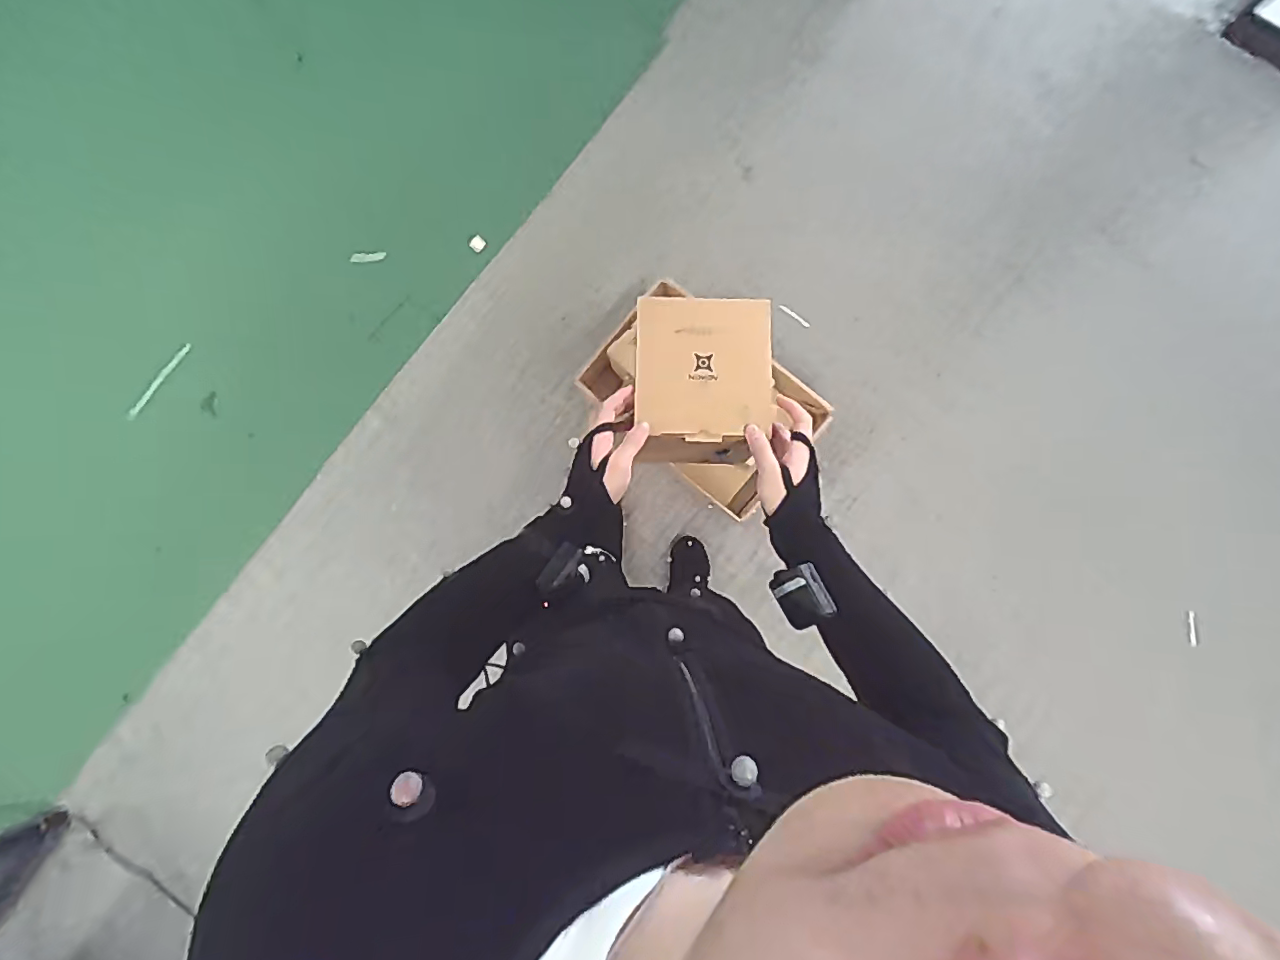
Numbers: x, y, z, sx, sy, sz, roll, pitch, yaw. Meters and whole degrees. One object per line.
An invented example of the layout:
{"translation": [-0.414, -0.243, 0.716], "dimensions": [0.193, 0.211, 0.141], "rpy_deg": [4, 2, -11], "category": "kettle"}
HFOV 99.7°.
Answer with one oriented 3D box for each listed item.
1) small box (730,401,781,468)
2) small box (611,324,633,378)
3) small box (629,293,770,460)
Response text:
{"translation": [0.272, -0.145, 1.502], "dimensions": [0.168, 0.176, 0.179], "rpy_deg": [25, 89, 6], "category": "small box"}
{"translation": [0.051, -0.311, 1.368], "dimensions": [0.179, 0.176, 0.168], "rpy_deg": [45, 90, 6], "category": "small box"}
{"translation": [0.071, -0.125, 0.716], "dimensions": [0.168, 0.176, 0.179], "rpy_deg": [1, 81, -1], "category": "small box"}
